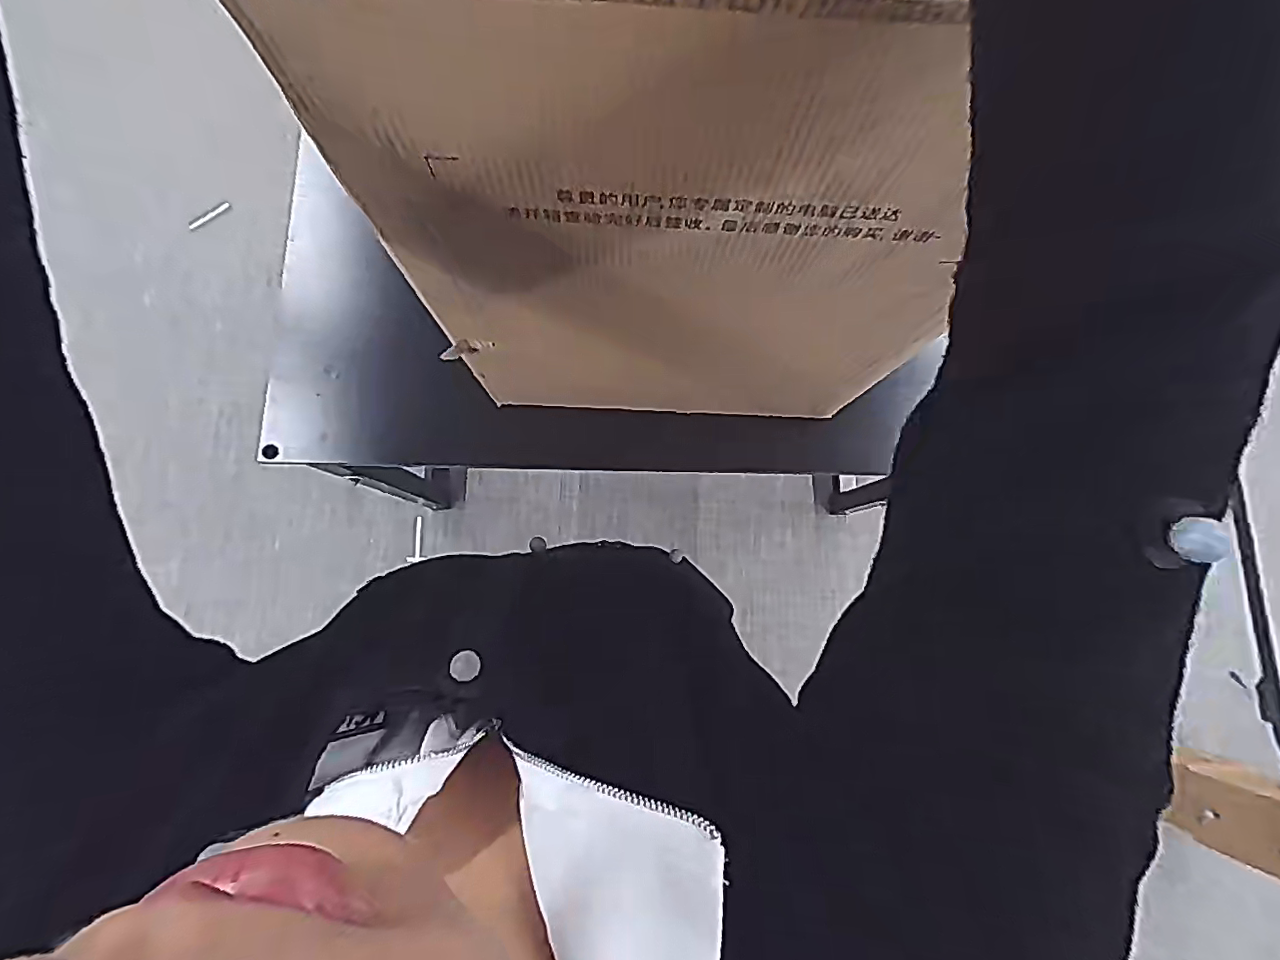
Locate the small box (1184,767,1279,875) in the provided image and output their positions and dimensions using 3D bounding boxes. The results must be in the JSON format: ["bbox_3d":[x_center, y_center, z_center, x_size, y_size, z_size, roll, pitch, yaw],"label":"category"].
[{"bbox_3d":[1.429,0.776,1.246,0.179,0.176,0.168,2,79,-2],"label":"small box"}]

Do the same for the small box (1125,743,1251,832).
[{"bbox_3d":[1.430,0.797,1.410,0.179,0.176,0.168,1,79,-1],"label":"small box"}]

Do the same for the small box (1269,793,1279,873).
[{"bbox_3d":[1.435,0.747,1.084,0.179,0.176,0.168,3,80,-2],"label":"small box"}]
